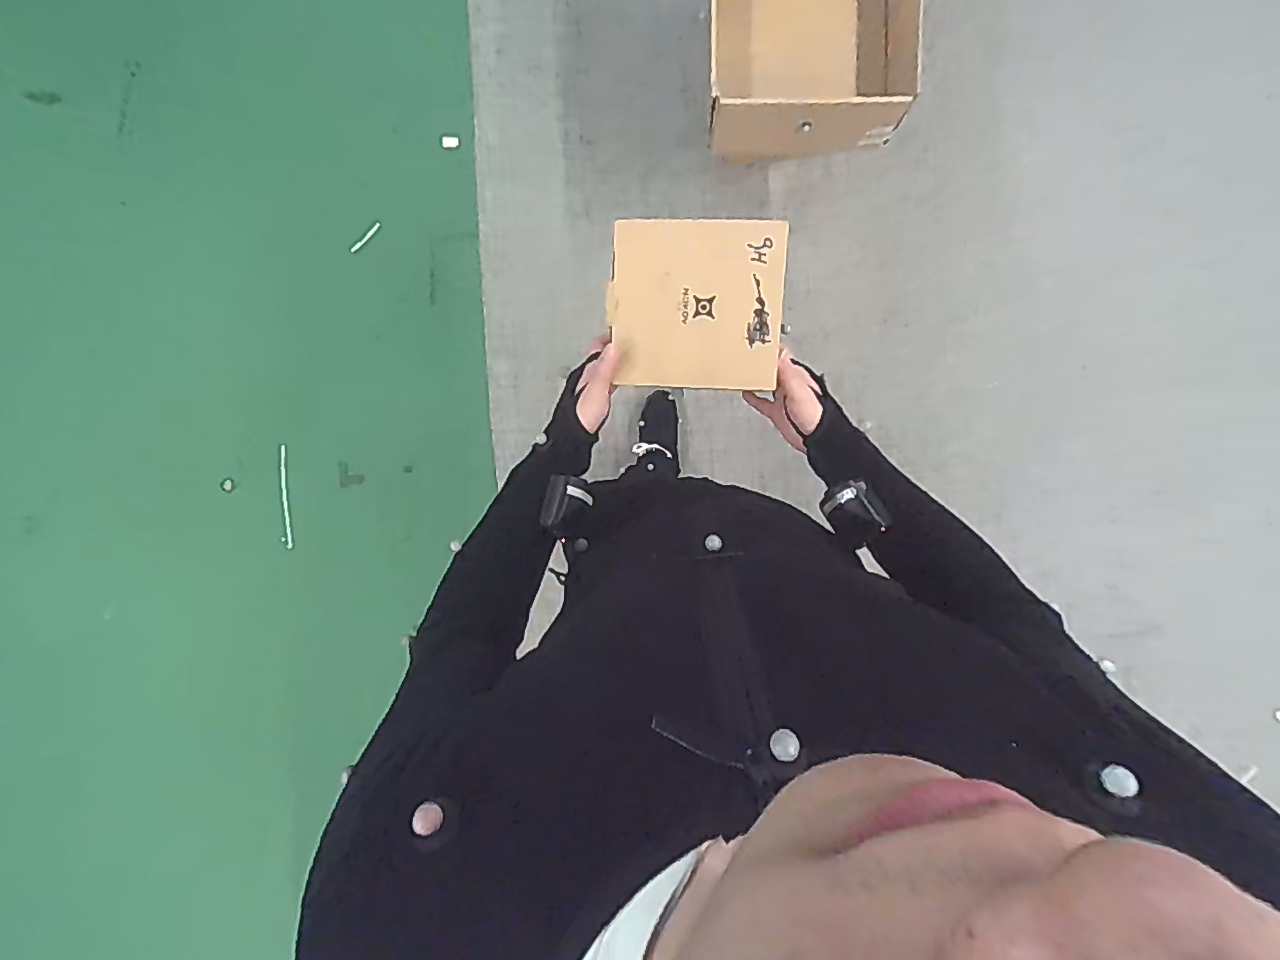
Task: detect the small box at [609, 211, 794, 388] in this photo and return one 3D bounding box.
[{"bbox_3d":[0.067,-0.194,0.620,0.179,0.176,0.168,4,100,6],"label":"small box"}]
